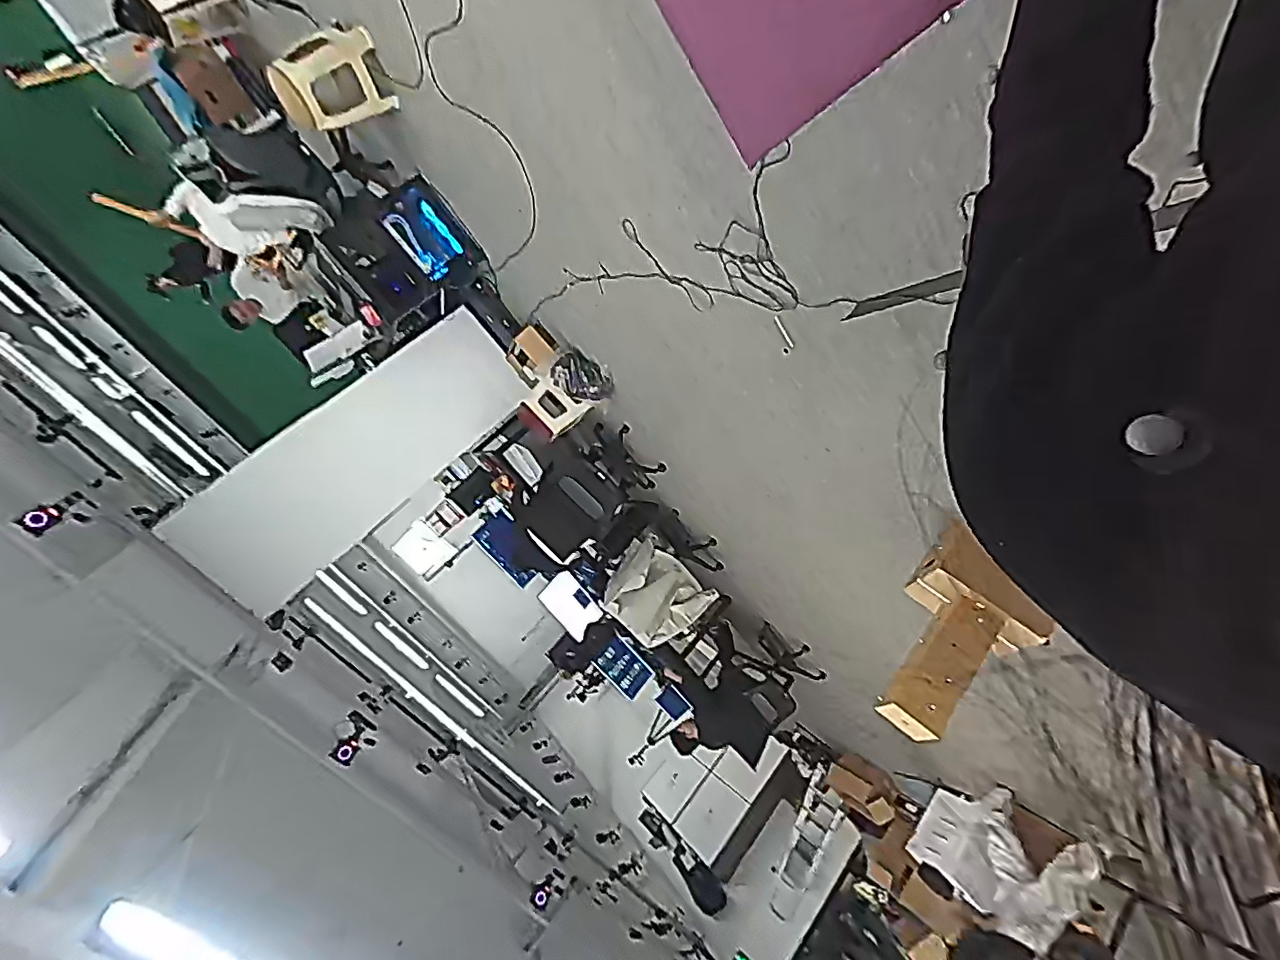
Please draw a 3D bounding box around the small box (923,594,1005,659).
[{"bbox_3d":[1.186,0.546,1.978,0.168,0.176,0.179,37,159,19],"label":"small box"}]

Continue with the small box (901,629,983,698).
[{"bbox_3d":[1.078,0.658,1.926,0.168,0.176,0.179,37,160,19],"label":"small box"}]

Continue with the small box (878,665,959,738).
[{"bbox_3d":[0.967,0.764,1.870,0.168,0.176,0.179,37,159,19],"label":"small box"}]
